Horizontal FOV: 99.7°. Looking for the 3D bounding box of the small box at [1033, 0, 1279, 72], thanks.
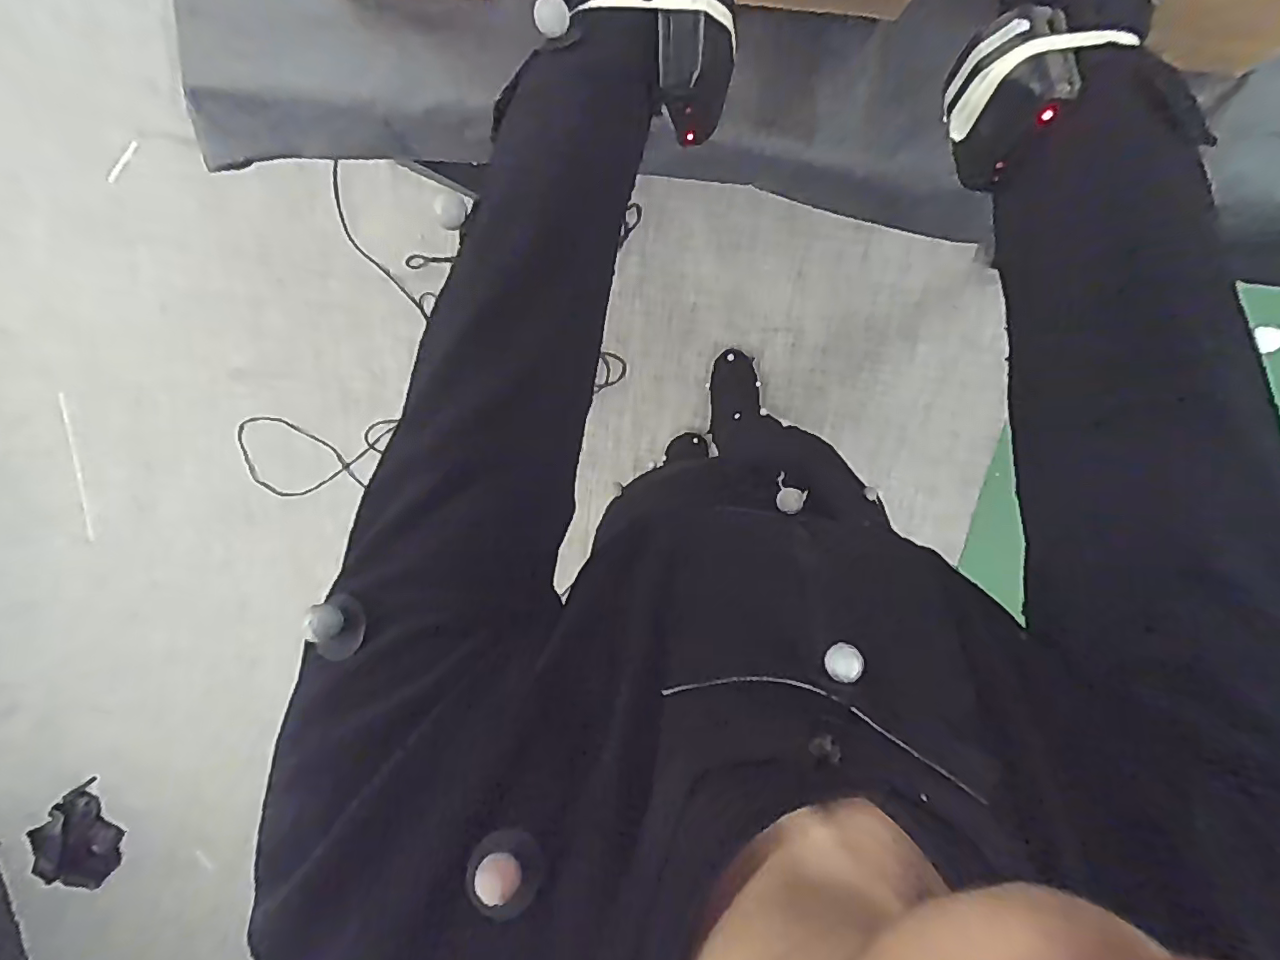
[{"bbox_3d":[0.412,-0.405,0.356,0.179,0.176,0.168,11,107,5],"label":"small box"}]
